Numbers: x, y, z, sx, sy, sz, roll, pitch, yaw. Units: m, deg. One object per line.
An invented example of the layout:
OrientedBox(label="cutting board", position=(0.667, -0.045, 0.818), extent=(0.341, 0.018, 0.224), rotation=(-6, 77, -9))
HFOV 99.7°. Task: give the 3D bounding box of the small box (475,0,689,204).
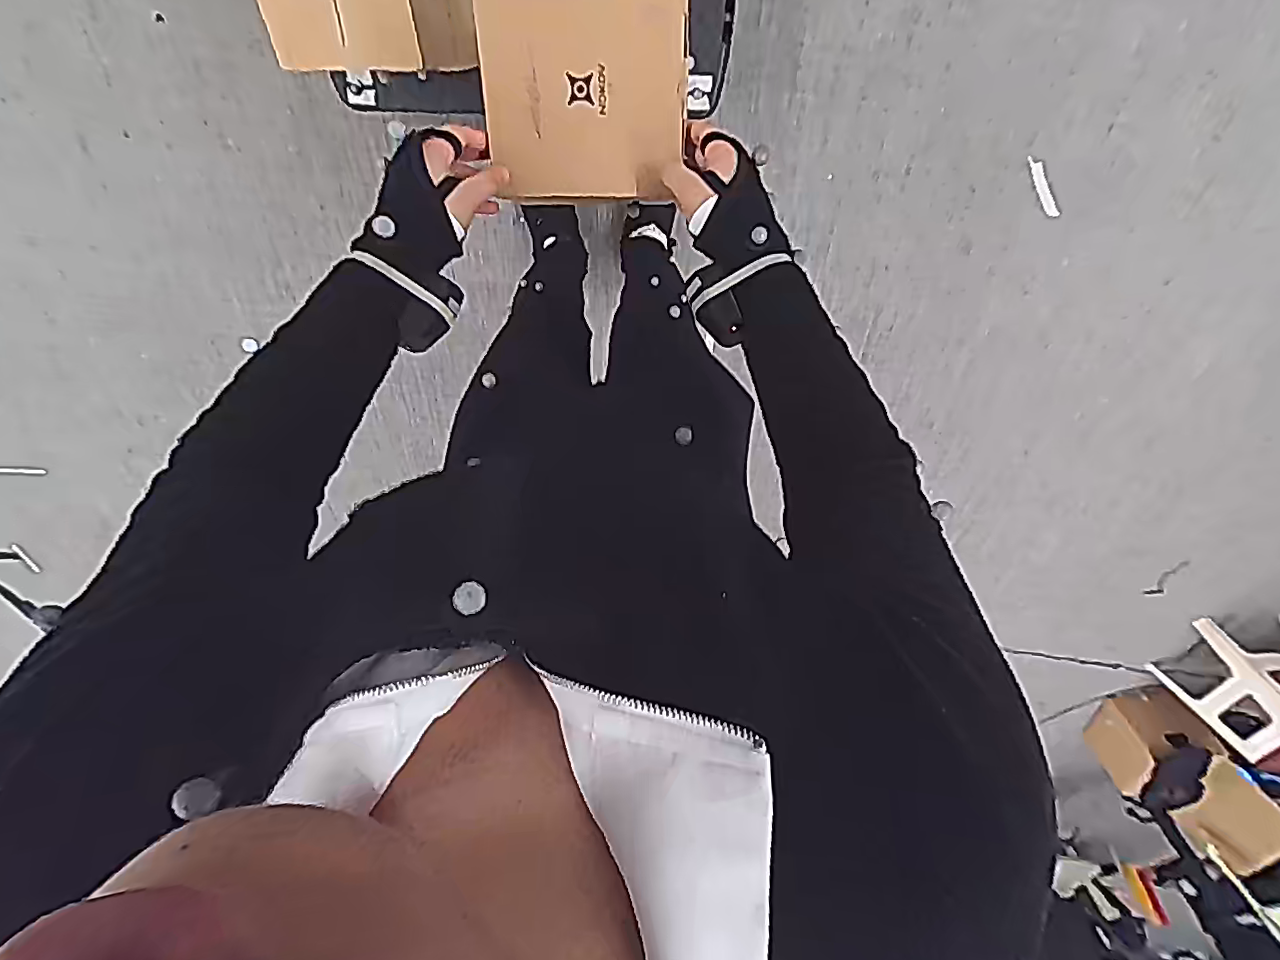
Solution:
OrientedBox(label="small box", position=(-0.050, -0.371, 0.536), extent=(0.179, 0.176, 0.168), rotation=(-1, 115, -1))

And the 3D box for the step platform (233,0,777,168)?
OrientedBox(label="step platform", position=(-0.169, -0.626, 0.765), extent=(0.684, 0.204, 0.286), rotation=(0, 129, -3))

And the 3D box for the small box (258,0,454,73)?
OrientedBox(label="small box", position=(-0.330, -0.585, 0.625), extent=(0.168, 0.176, 0.179), rotation=(-1, 130, -2))

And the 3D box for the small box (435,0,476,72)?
OrientedBox(label="small box", position=(-0.333, -0.685, 0.755), extent=(0.168, 0.176, 0.179), rotation=(0, 130, -2))
